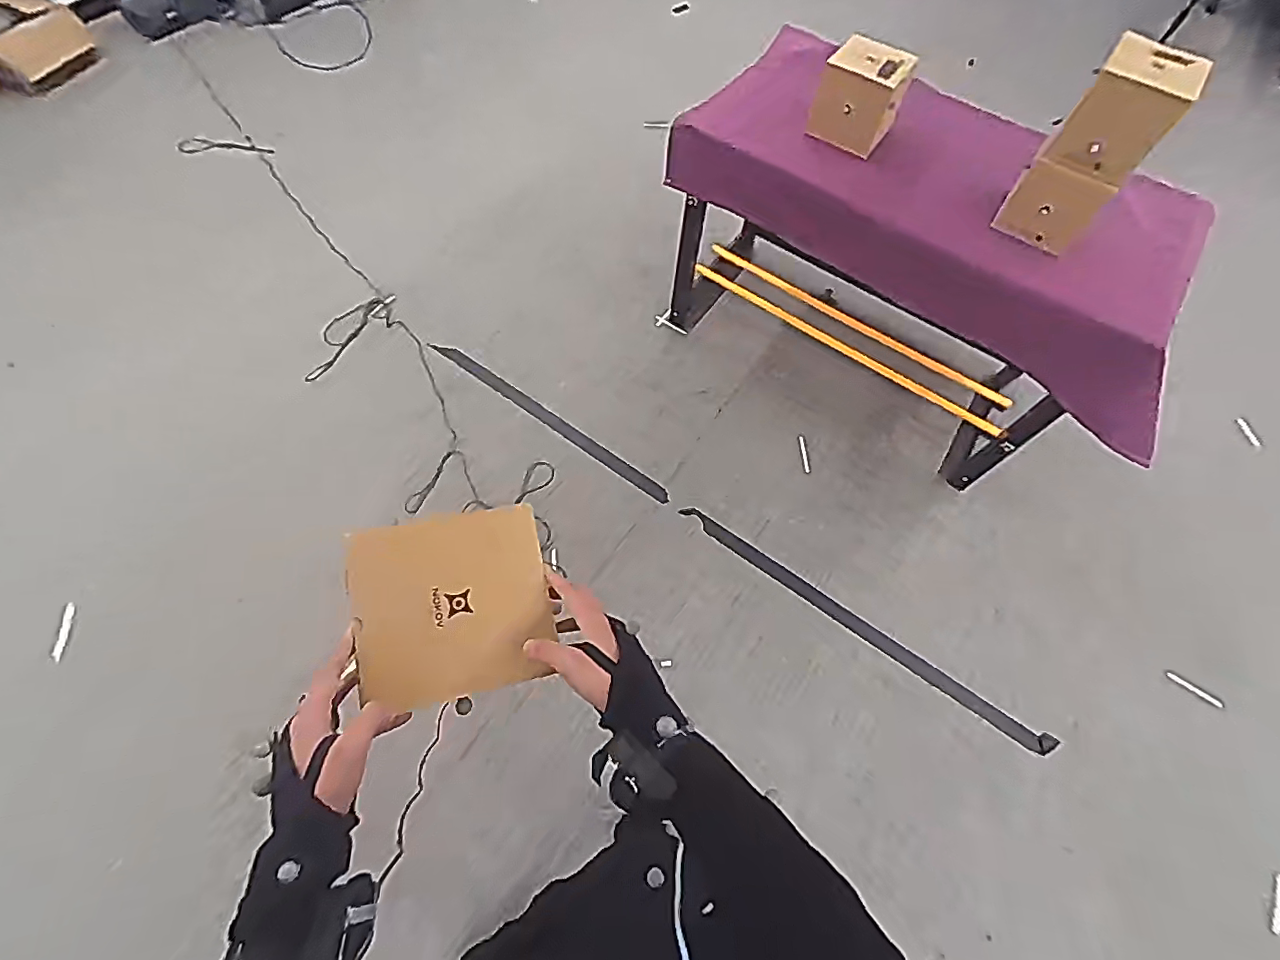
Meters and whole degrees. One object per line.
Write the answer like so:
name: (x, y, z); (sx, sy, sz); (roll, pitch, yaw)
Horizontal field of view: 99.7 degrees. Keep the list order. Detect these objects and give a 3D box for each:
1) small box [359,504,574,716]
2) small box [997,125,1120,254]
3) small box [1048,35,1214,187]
small box: (-0.178, 0.133, 0.576); (0.179, 0.176, 0.168); (-10, 77, -15)
small box: (0.951, -0.651, 1.221); (0.168, 0.176, 0.179); (34, 66, 13)
small box: (0.966, -0.730, 1.078); (0.168, 0.176, 0.179); (34, 67, 13)
